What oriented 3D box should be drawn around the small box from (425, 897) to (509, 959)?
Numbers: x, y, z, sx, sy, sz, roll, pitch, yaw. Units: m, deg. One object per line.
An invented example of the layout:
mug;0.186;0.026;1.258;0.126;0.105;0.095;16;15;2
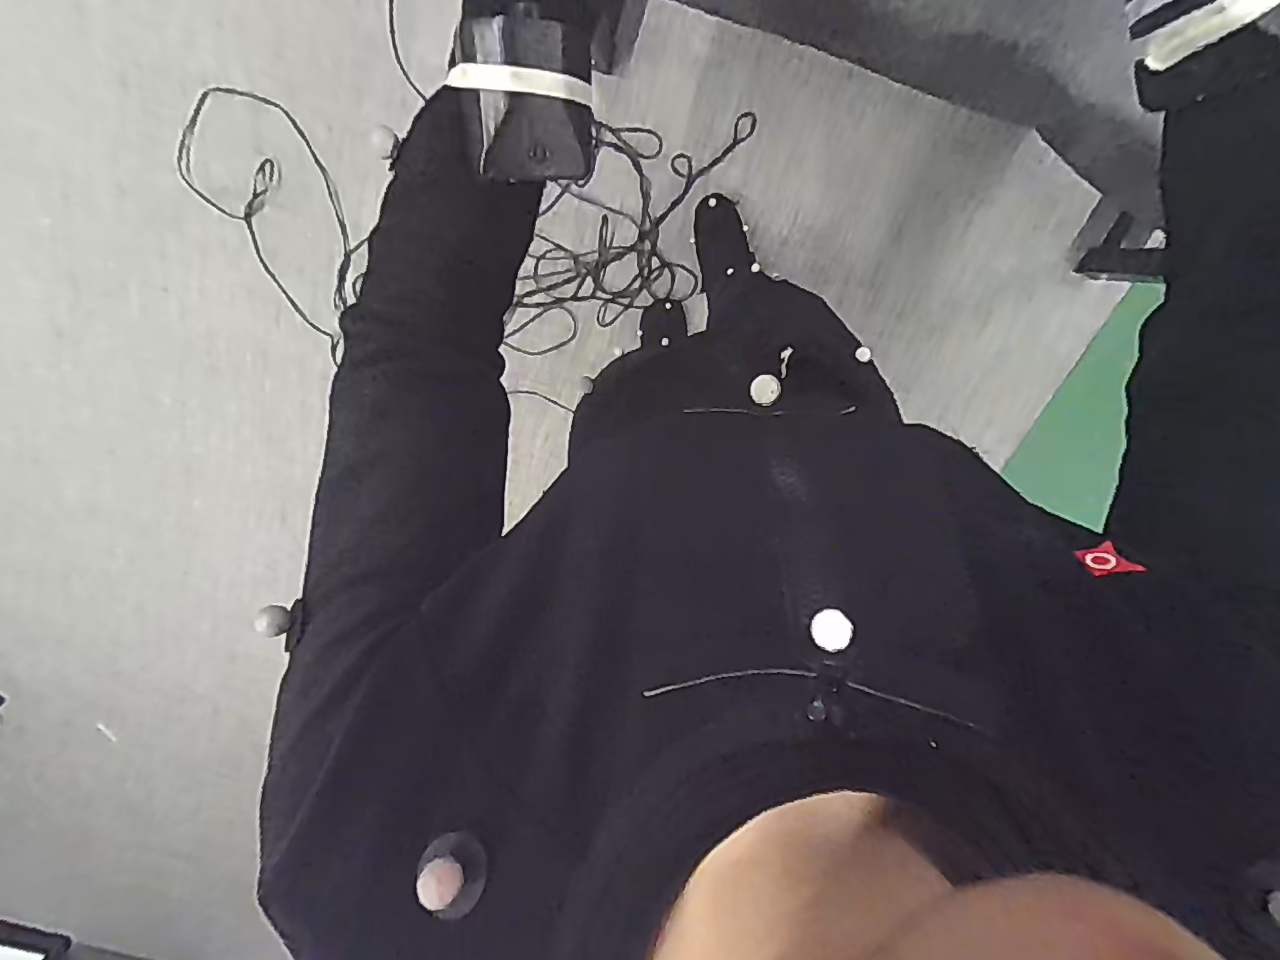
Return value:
small box;-0.450;1.212;1.376;0.168;0.176;0.179;26;114;-5
